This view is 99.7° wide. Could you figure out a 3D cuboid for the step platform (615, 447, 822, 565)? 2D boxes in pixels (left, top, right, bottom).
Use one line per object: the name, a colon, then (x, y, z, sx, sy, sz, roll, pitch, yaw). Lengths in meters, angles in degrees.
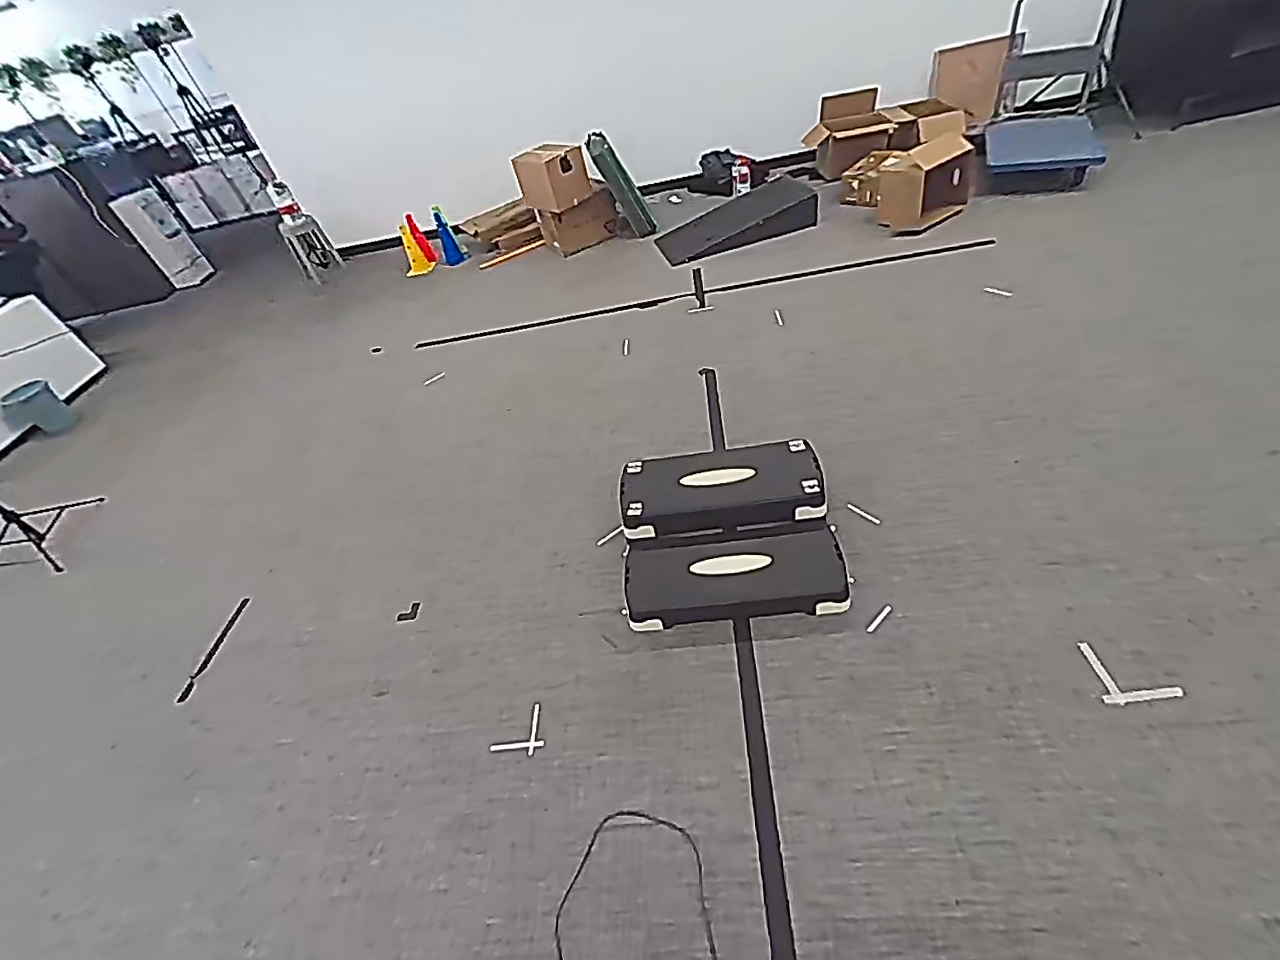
step platform: (0.254, 0.083, 1.838, 0.684, 0.204, 0.286, -8, 44, 6)
